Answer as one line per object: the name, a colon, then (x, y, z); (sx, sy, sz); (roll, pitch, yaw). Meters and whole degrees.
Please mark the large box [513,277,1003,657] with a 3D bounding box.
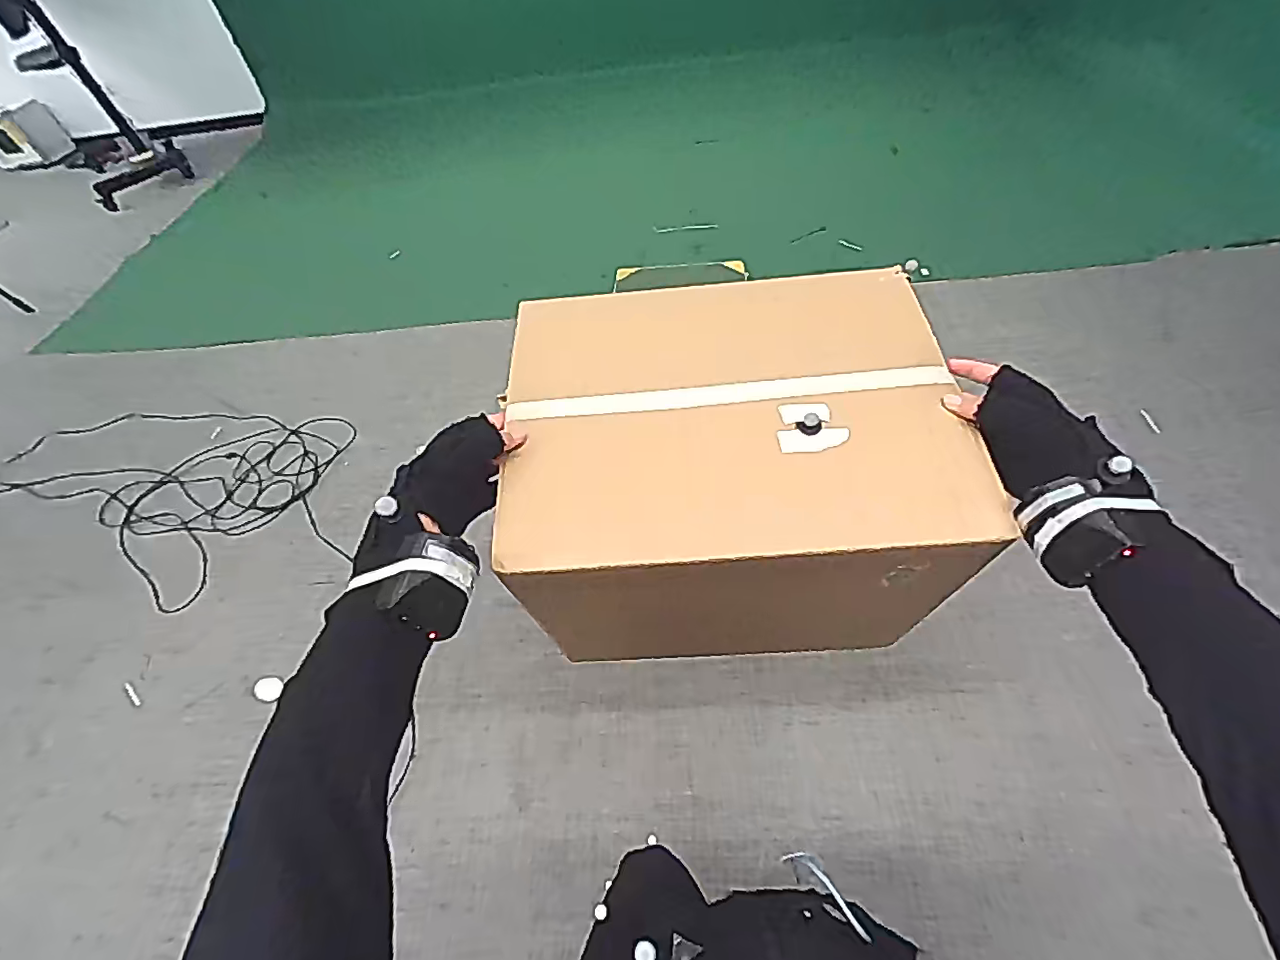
large box: (0.092, 0.005, 0.635); (0.408, 0.320, 0.320); (-4, 60, 2)
